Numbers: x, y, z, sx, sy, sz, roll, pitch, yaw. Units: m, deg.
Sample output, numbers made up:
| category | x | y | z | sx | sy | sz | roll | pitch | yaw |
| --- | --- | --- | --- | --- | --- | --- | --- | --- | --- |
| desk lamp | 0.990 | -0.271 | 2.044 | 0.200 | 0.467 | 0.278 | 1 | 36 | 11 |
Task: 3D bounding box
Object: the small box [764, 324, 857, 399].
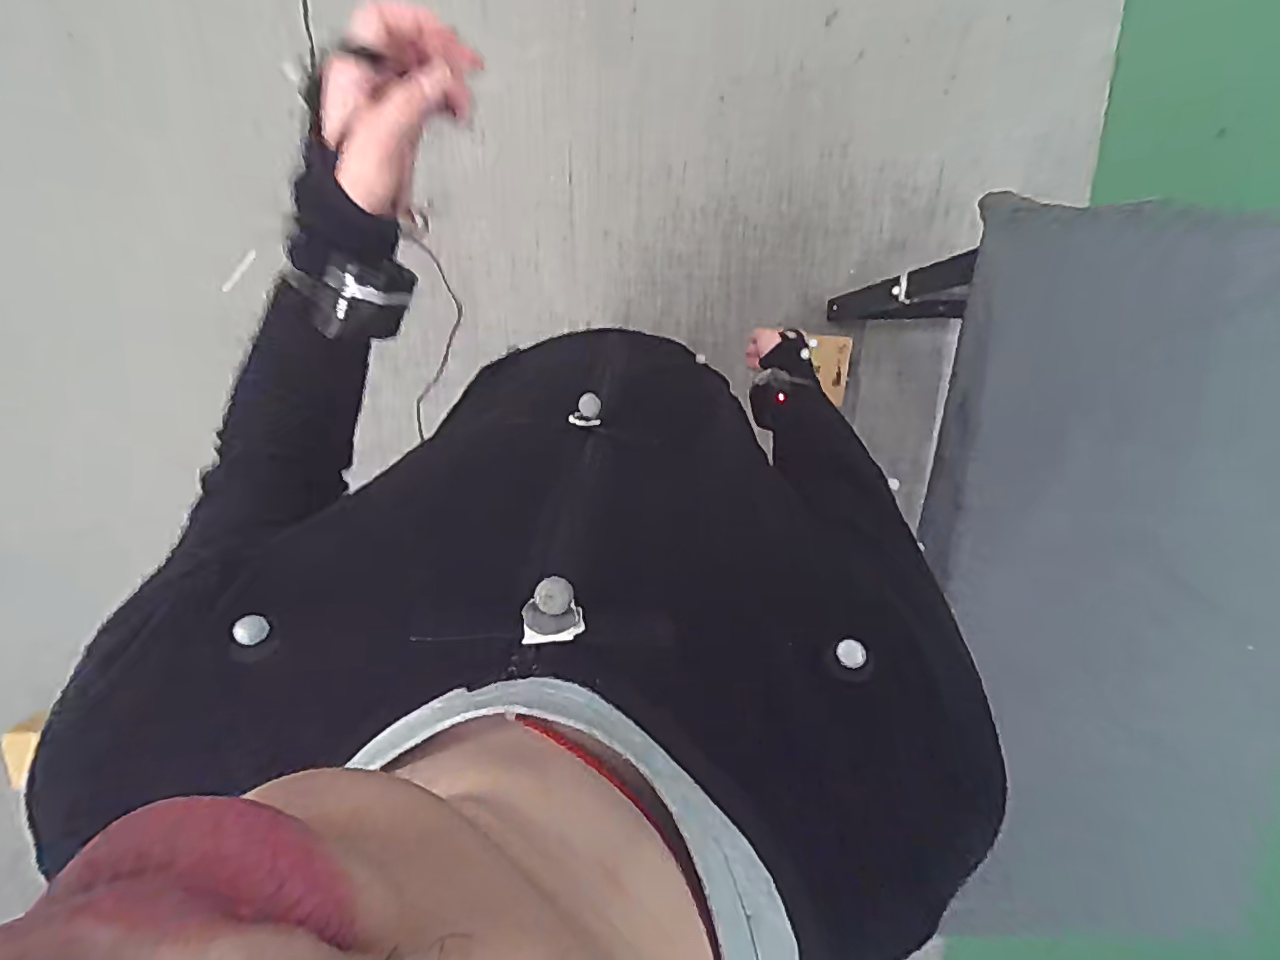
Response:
| category | x | y | z | sx | sy | sz | roll | pitch | yaw |
| --- | --- | --- | --- | --- | --- | --- | --- | --- | --- |
| small box | 0.430 | -0.304 | 1.395 | 0.179 | 0.176 | 0.168 | 5 | 103 | -1 |
